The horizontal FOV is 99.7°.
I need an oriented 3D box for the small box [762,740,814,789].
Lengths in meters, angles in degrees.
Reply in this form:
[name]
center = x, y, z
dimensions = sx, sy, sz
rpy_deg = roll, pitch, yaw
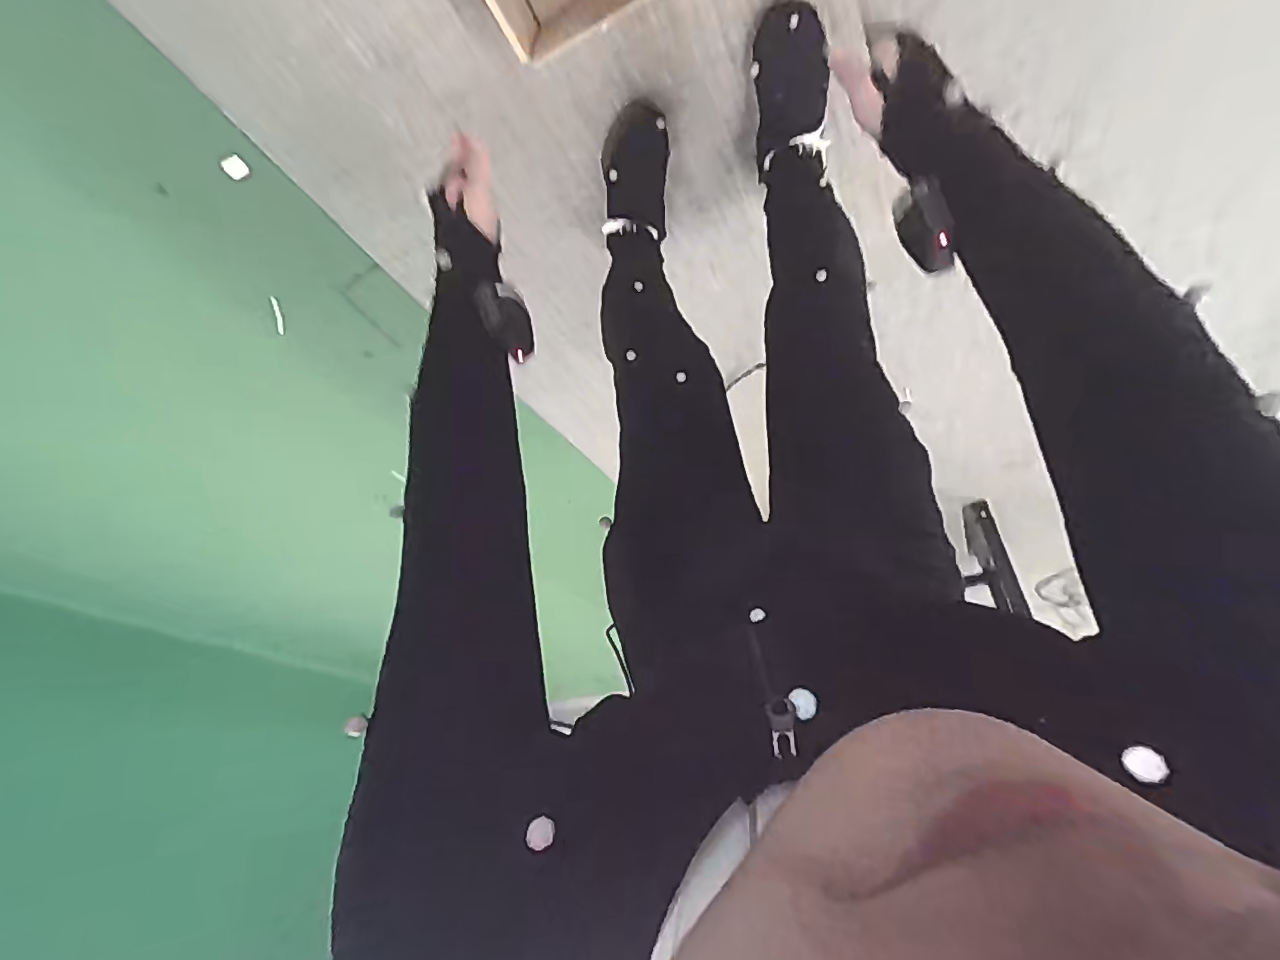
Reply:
[small box]
center = 0.629, 1.211, 2.299
dimensions = 0.168, 0.176, 0.179
rpy_deg = -18, 143, 24
